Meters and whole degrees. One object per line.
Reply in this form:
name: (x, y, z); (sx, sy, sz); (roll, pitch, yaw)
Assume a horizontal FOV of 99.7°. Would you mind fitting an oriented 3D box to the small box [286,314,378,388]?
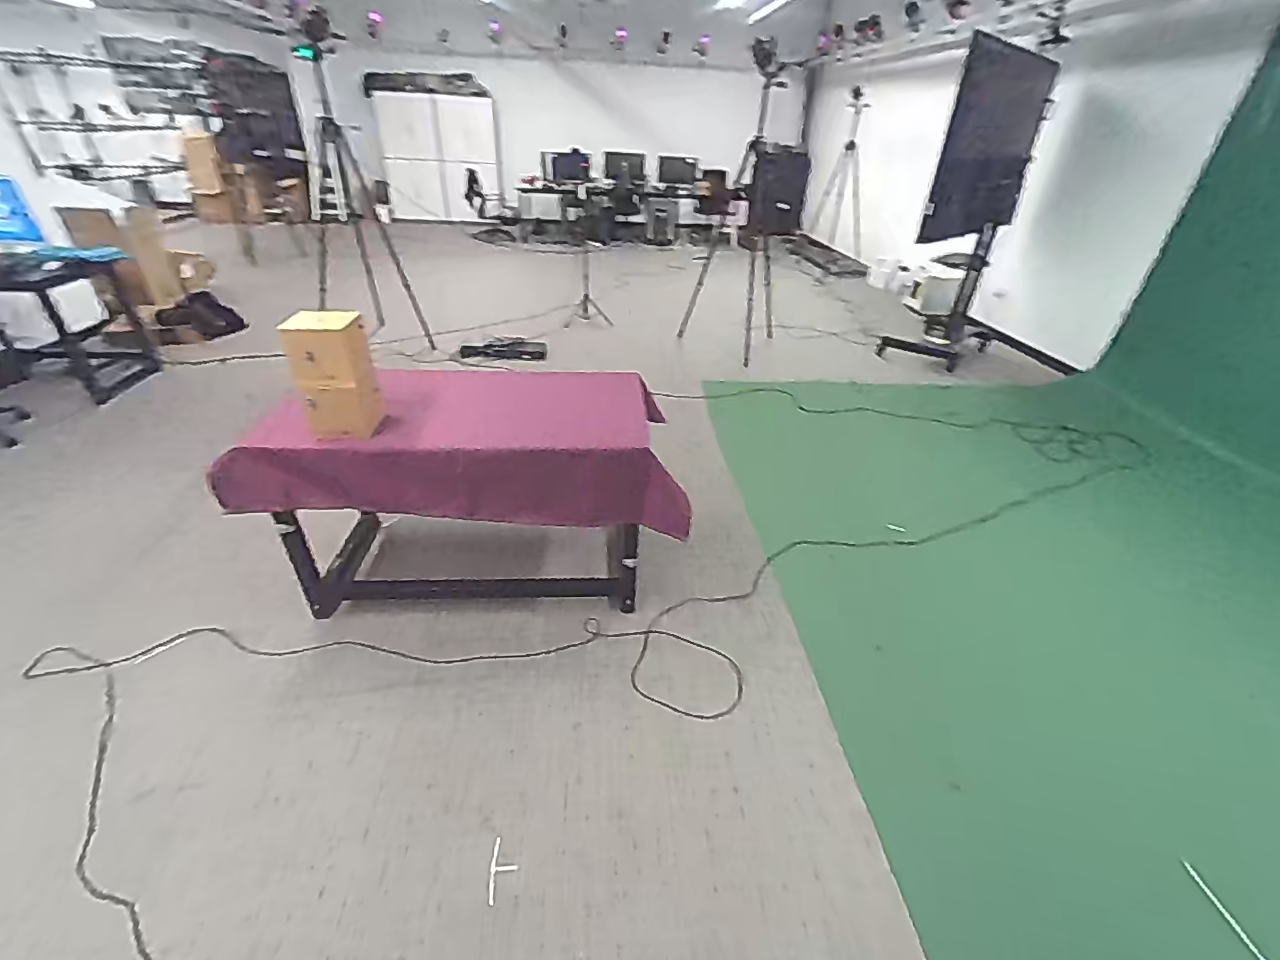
small box: (-0.885, -0.375, 1.574); (0.168, 0.176, 0.179); (-2, 32, -7)
